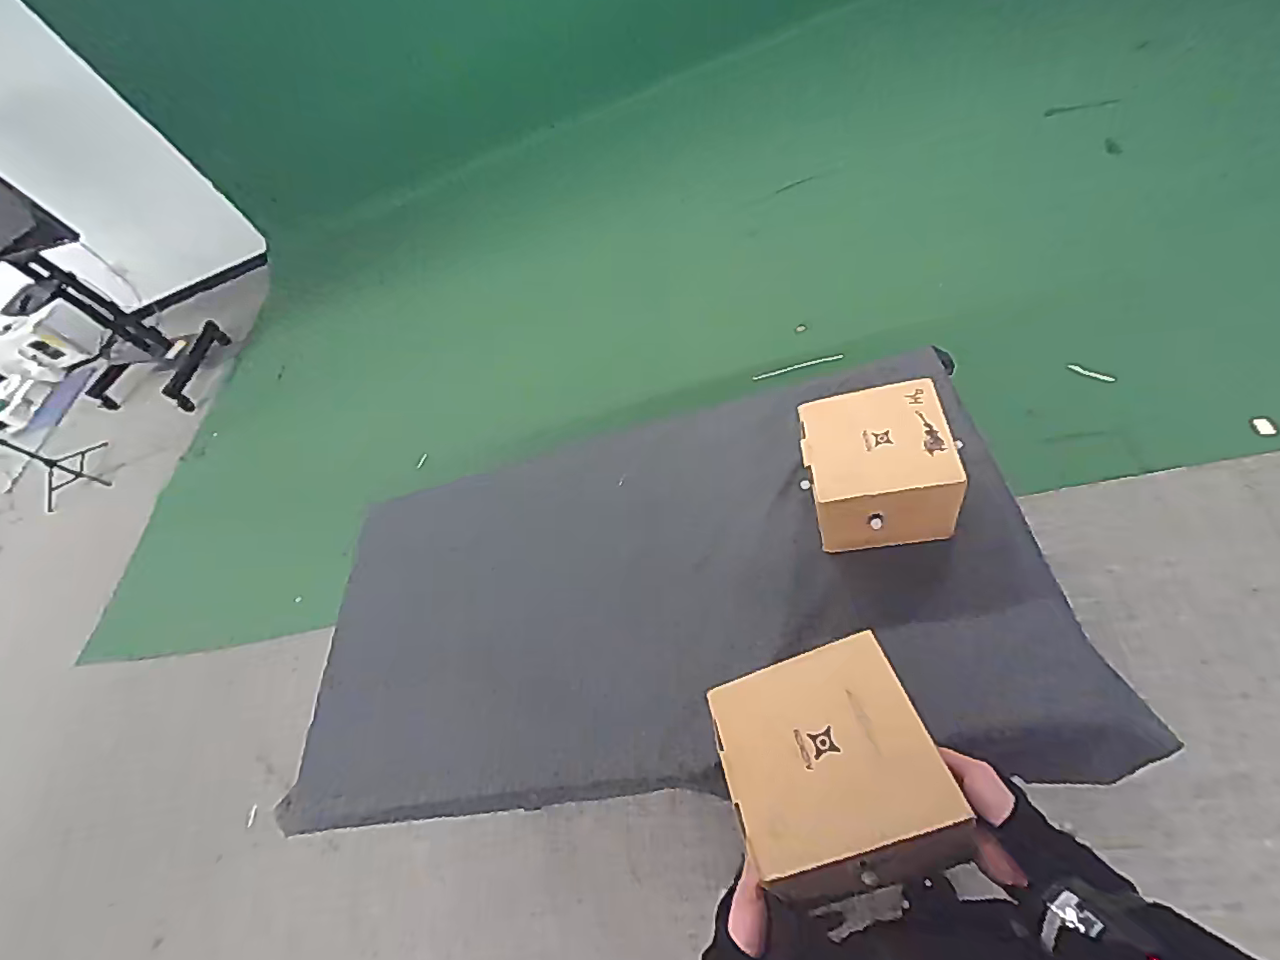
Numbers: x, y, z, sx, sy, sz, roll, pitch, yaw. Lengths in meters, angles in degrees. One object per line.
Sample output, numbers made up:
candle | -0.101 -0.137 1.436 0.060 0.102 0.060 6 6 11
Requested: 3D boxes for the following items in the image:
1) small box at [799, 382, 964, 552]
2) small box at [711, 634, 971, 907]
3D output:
small box | 0.336 -0.007 0.770 0.179 0.176 0.168 -11 57 18
small box | 0.193 0.287 0.526 0.179 0.176 0.168 -24 41 9
